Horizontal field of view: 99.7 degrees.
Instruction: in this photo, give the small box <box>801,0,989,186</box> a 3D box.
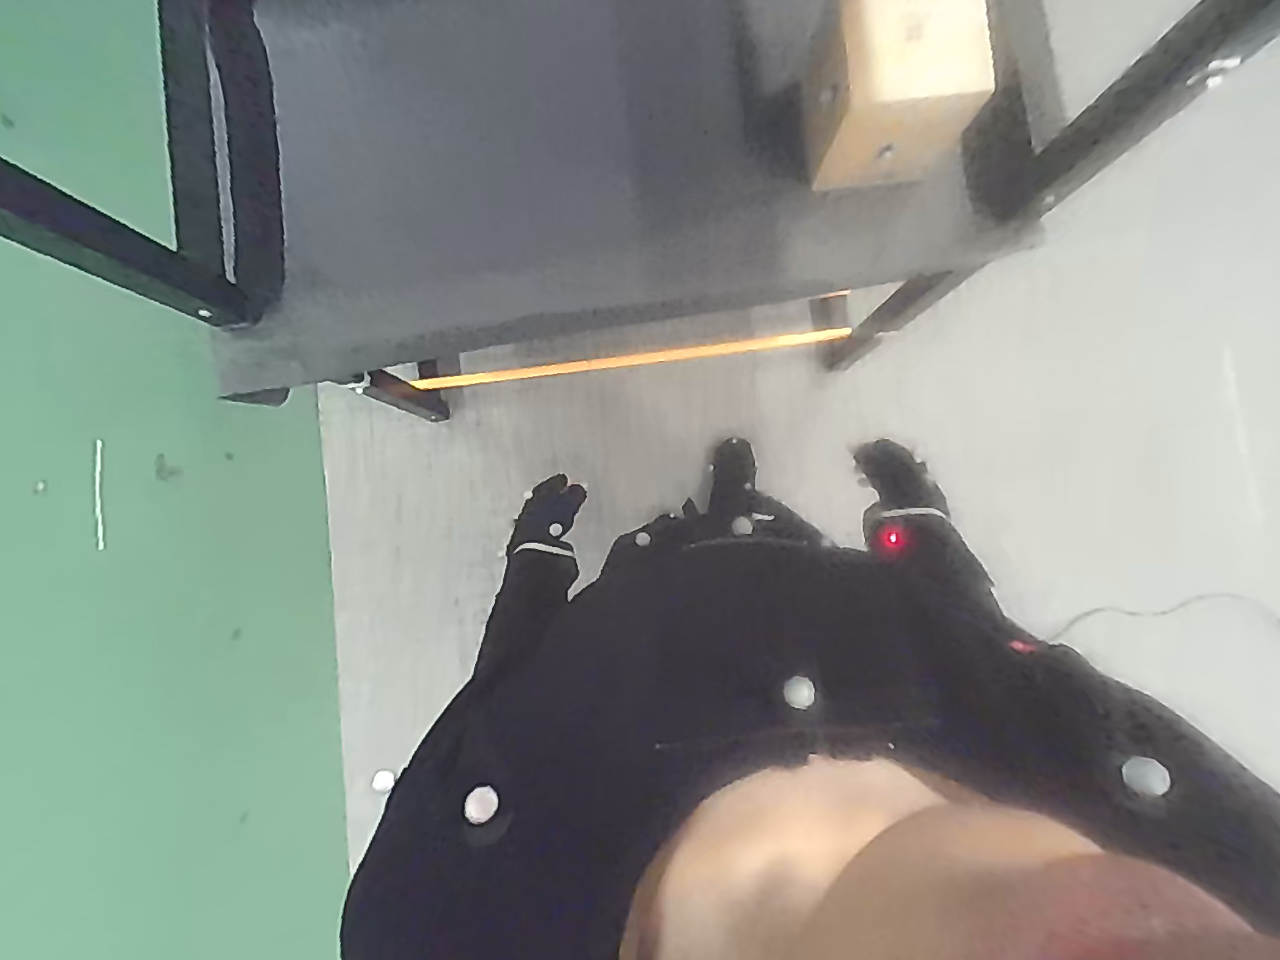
[{"bbox_3d":[0.318,-0.511,0.708,0.168,0.176,0.179,-4,85,1],"label":"small box"}]
